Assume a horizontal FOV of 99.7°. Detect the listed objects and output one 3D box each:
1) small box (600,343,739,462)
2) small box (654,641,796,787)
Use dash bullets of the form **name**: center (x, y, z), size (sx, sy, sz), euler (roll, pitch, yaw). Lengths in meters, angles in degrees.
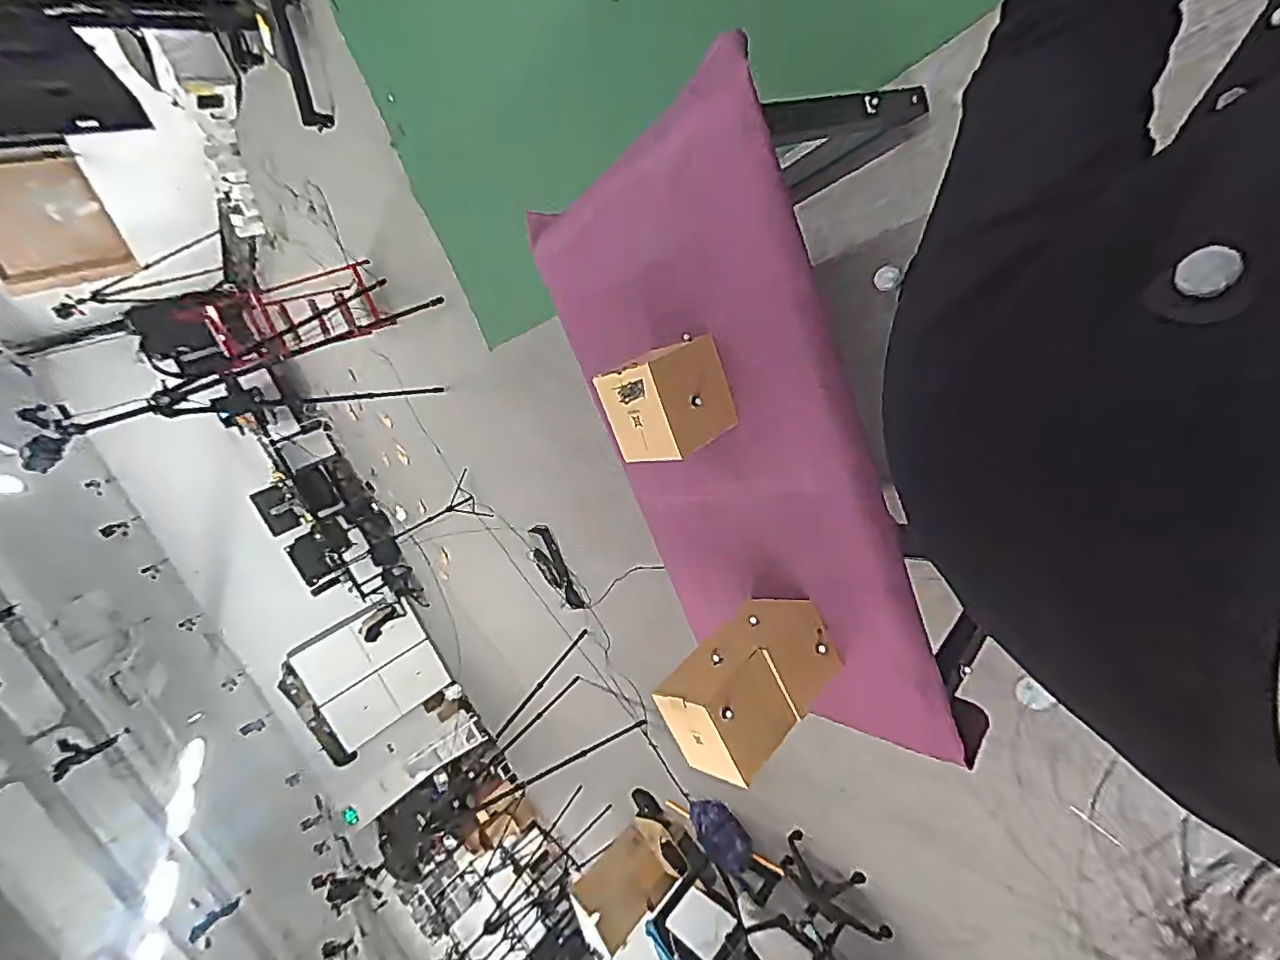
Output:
- **small box**: center (0.058, -0.149, 1.013), size (0.168, 0.176, 0.179), euler (6, 120, 52)
- **small box**: center (0.166, 0.436, 1.038), size (0.168, 0.176, 0.179), euler (-19, 99, 55)
